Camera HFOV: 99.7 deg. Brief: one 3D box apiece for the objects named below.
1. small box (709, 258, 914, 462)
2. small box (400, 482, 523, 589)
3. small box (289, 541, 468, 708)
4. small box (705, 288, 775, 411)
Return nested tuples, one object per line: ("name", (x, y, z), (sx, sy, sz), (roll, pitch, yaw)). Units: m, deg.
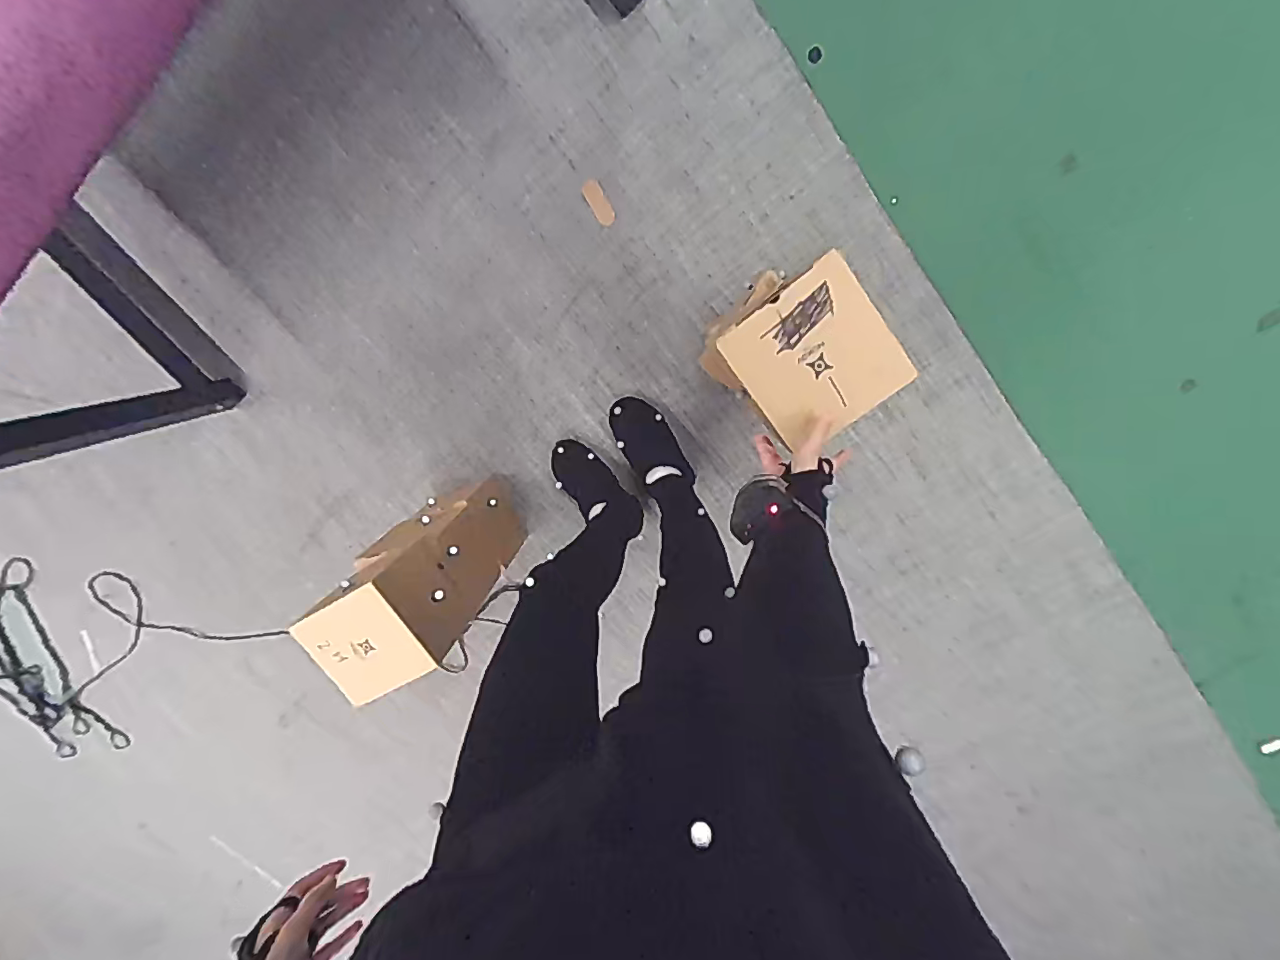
("small box", (0.204, -0.155, 0.698), (0.168, 0.176, 0.179), (-36, 103, 13))
("small box", (-0.382, 0.118, 1.190), (0.168, 0.176, 0.179), (-21, 107, 12))
("small box", (-0.406, 0.226, 0.882), (0.179, 0.176, 0.168), (-28, 103, 14))
("small box", (0.235, -0.251, 1.013), (0.179, 0.176, 0.168), (-27, 104, 13))
